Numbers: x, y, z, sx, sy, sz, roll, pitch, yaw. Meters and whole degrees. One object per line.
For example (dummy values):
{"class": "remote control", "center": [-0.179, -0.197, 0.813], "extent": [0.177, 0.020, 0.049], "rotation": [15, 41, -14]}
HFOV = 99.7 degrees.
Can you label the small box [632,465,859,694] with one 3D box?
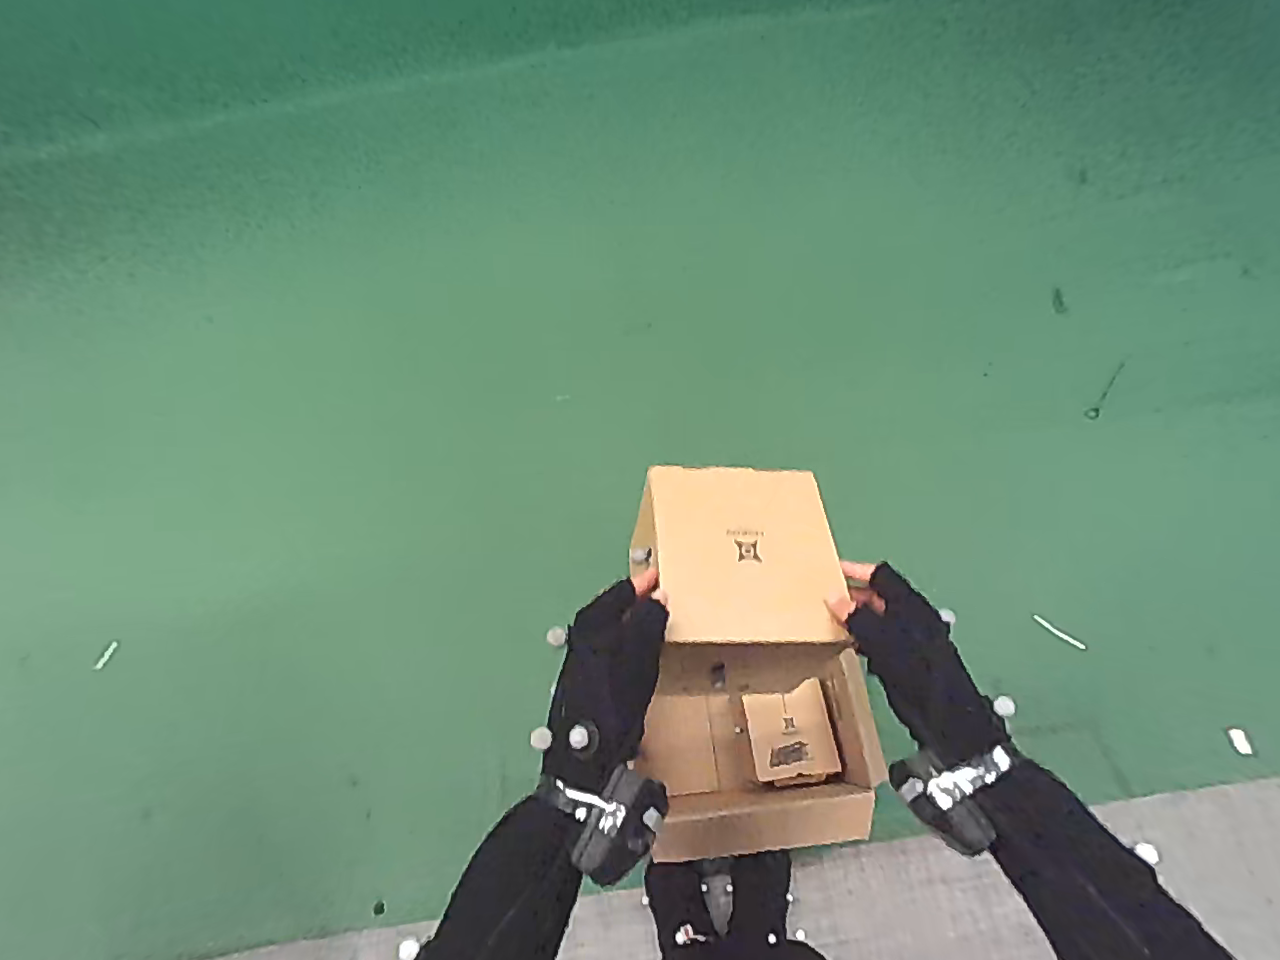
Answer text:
{"class": "small box", "center": [0.083, 0.104, 0.534], "extent": [0.168, 0.176, 0.179], "rotation": [1, 53, -7]}
